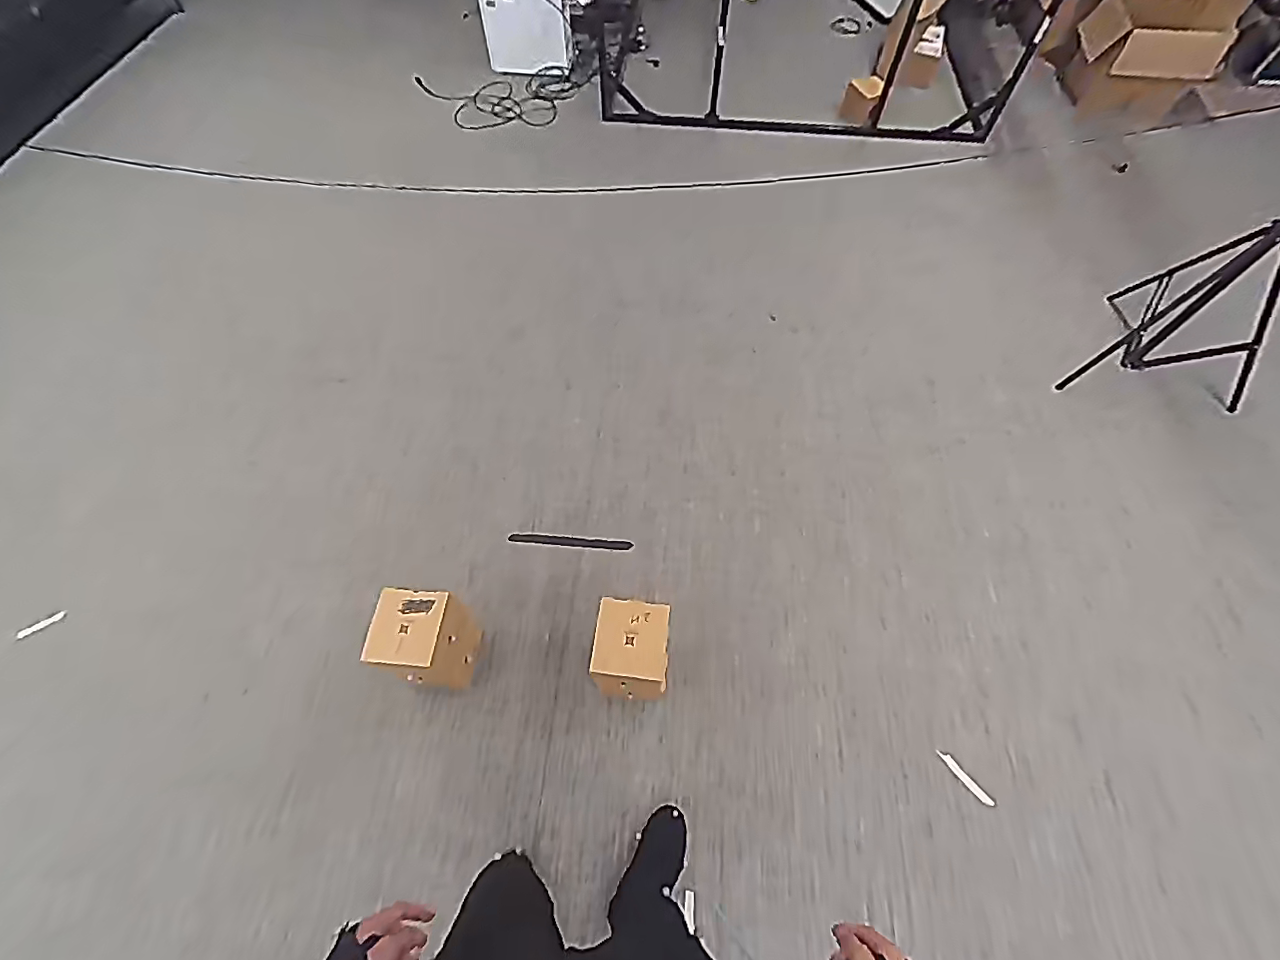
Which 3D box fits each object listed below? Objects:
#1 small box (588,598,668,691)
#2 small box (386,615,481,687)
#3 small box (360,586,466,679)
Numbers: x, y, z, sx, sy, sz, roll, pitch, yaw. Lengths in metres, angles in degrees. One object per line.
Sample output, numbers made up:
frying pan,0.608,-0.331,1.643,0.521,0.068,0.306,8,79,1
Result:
small box,-0.025,0.403,1.309,0.168,0.176,0.179,7,61,3
small box,-0.548,0.459,1.465,0.179,0.176,0.168,4,61,3
small box,-0.542,0.376,1.323,0.168,0.176,0.179,4,61,3
